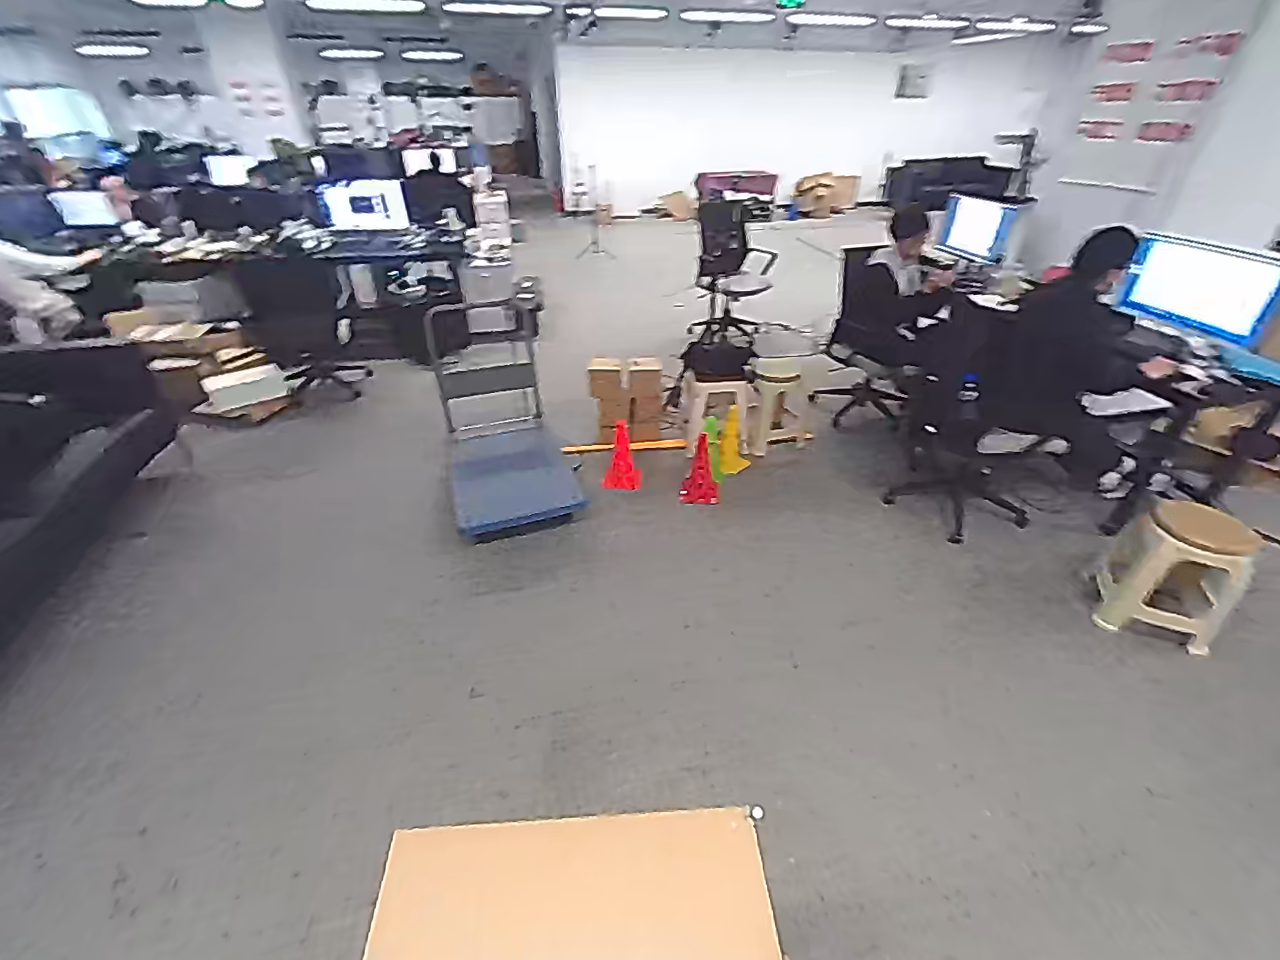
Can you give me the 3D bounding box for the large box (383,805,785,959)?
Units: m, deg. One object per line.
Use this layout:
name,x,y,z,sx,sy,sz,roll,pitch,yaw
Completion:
large box,-0.059,0.606,0.606,0.408,0.320,0.320,0,40,-6
